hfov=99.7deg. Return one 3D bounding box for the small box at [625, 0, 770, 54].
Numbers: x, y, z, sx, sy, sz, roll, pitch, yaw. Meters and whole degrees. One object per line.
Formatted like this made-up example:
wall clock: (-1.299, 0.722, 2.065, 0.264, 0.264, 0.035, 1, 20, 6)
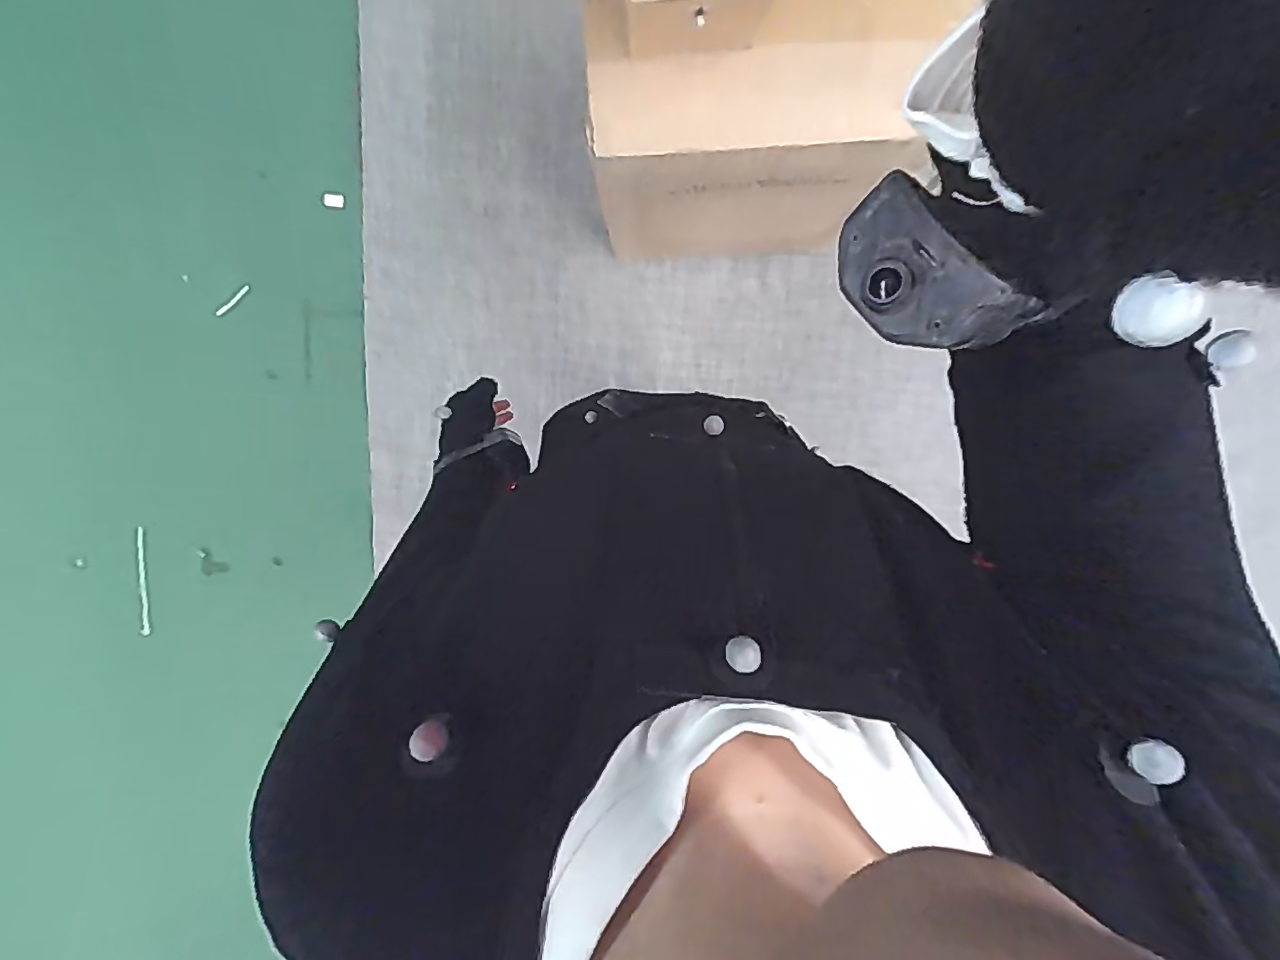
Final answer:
small box: (0.065, -0.627, 0.627, 0.179, 0.176, 0.168, -5, 111, 1)
